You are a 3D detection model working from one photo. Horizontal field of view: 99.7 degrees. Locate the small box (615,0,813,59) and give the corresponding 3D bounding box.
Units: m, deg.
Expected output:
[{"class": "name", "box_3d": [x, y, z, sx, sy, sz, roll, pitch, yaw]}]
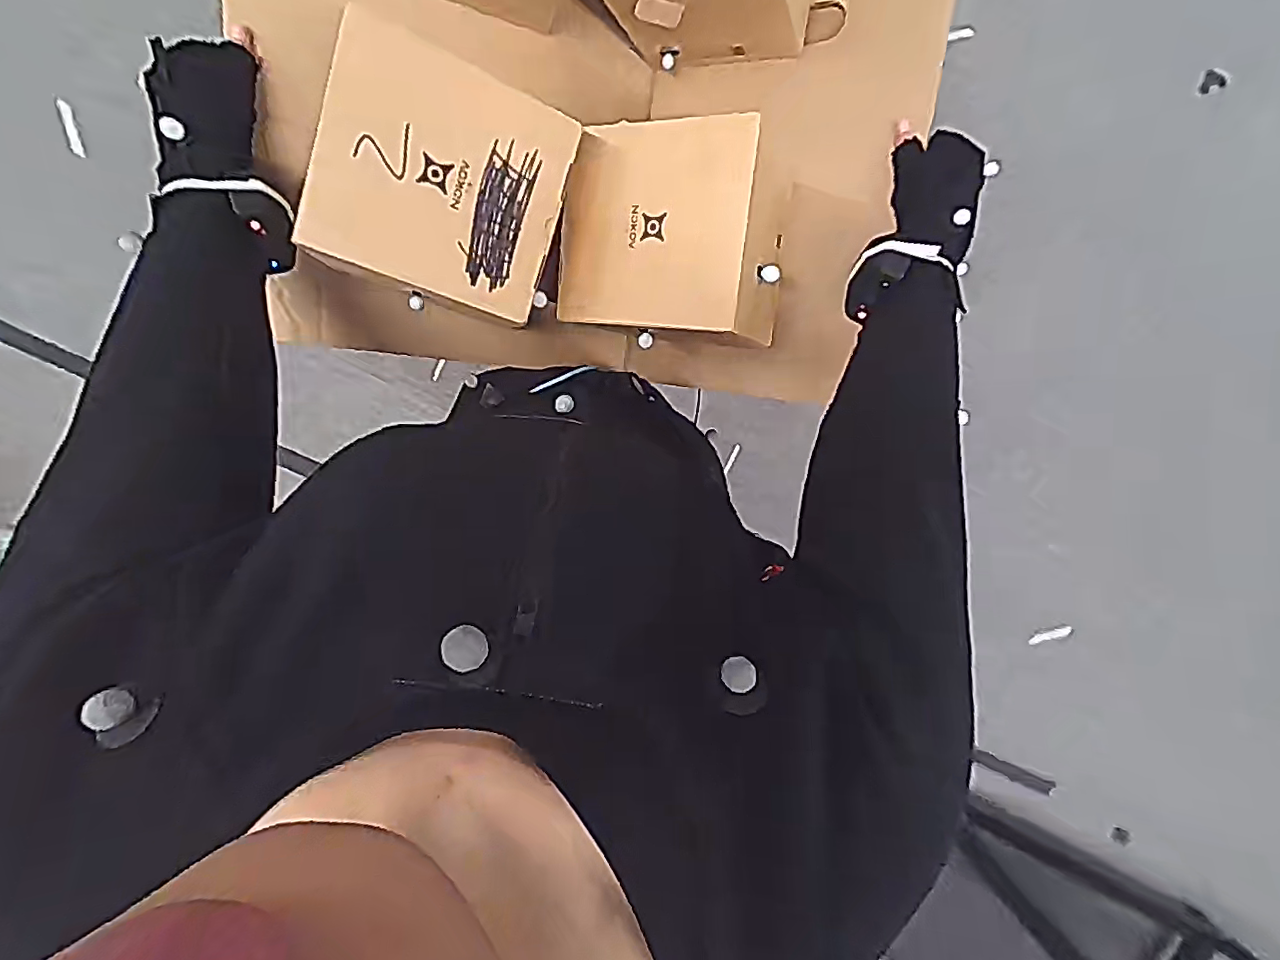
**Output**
[{"class": "small box", "box_3d": [0.071, -0.511, 0.480, 0.168, 0.176, 0.179, 15, 102, 22]}]
